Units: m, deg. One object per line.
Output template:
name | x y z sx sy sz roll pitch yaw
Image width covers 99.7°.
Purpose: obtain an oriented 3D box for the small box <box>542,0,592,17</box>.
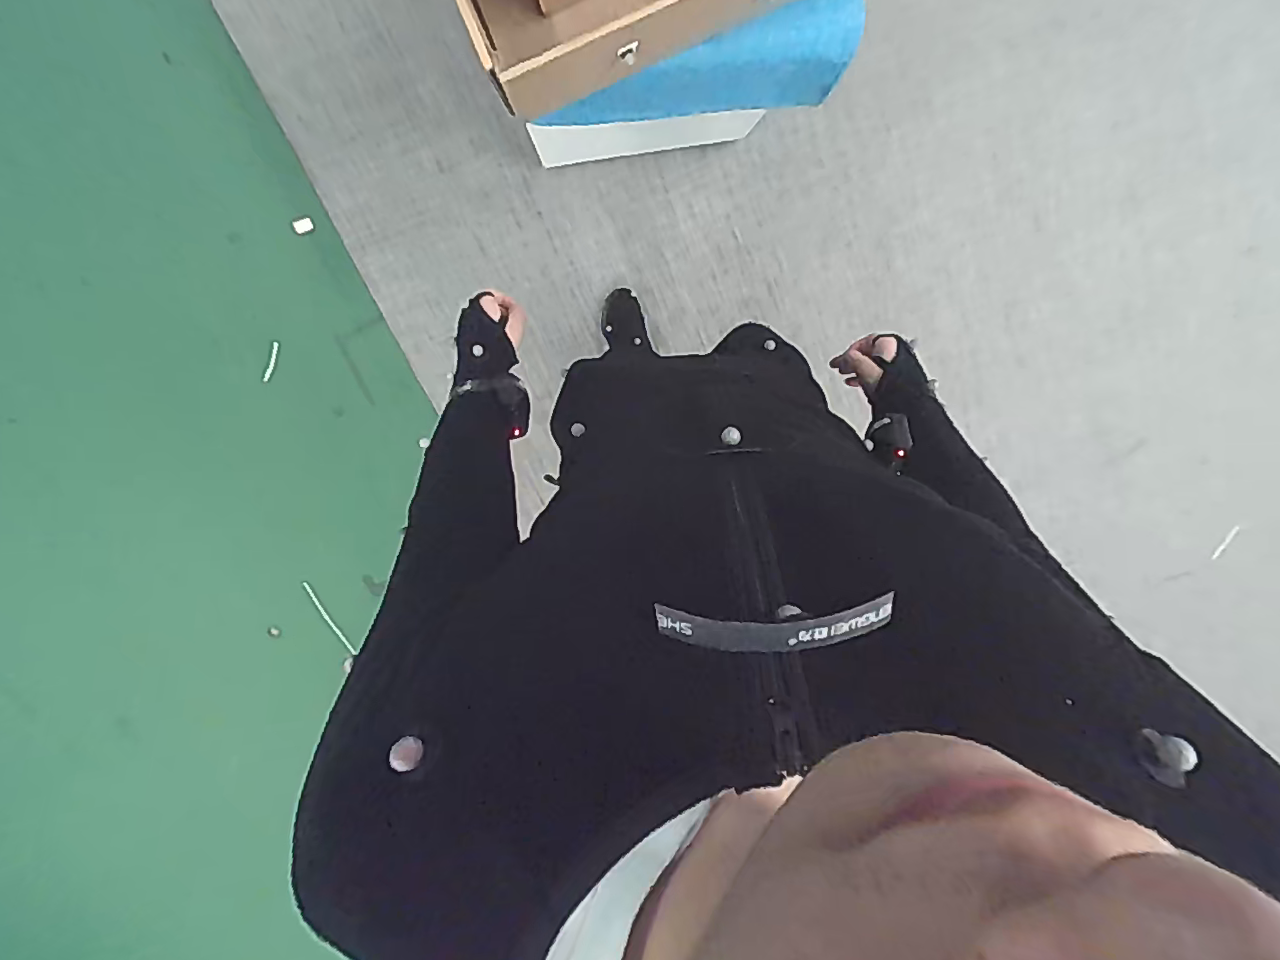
small box | -0.074 -0.720 0.652 0.179 0.176 0.168 -23 106 3
